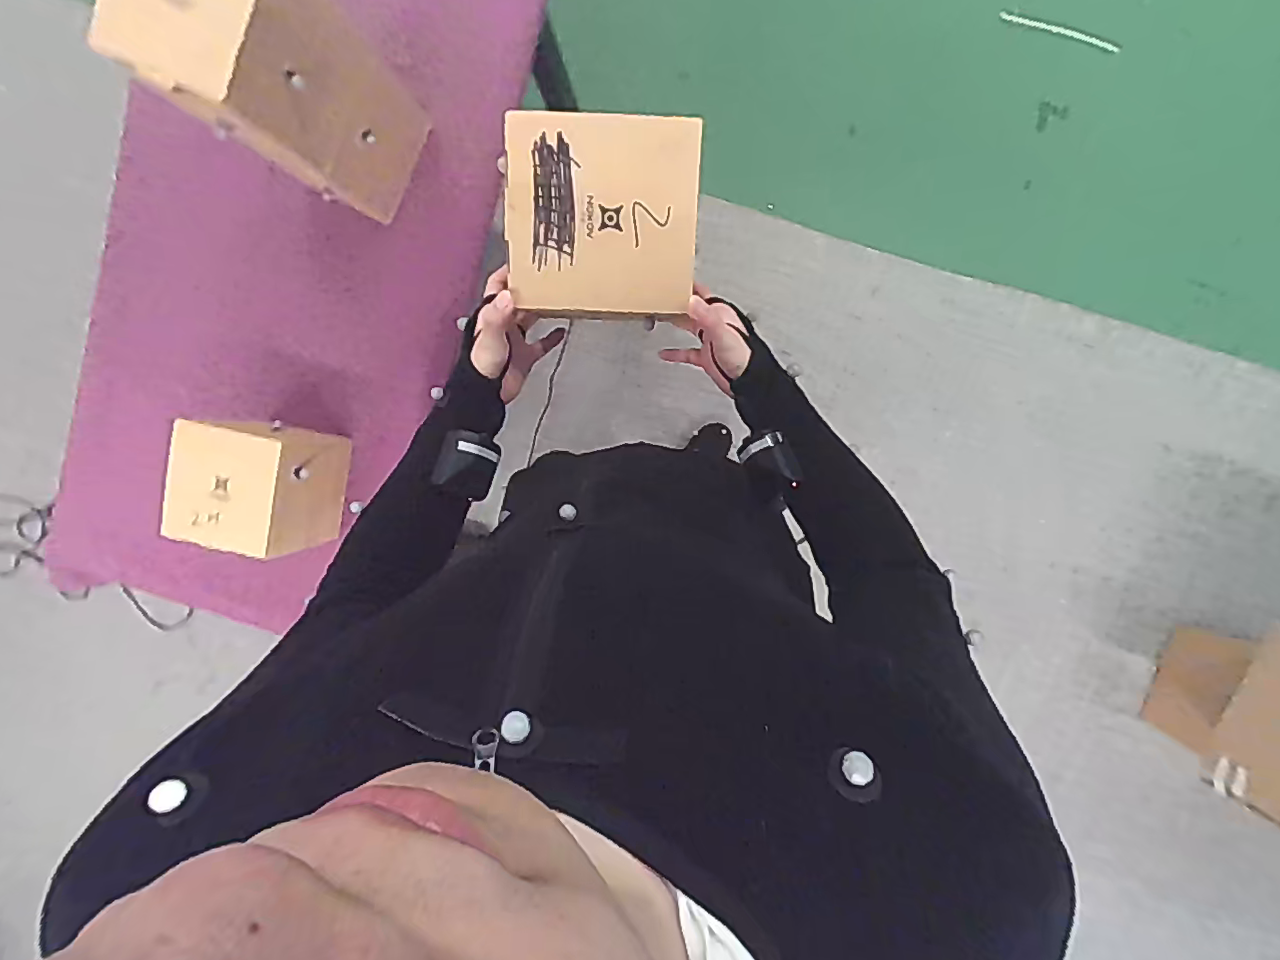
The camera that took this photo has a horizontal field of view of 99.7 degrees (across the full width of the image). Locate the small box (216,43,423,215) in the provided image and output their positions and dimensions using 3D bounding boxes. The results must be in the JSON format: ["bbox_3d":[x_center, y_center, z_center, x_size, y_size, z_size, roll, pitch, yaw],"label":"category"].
[{"bbox_3d":[-0.447,-0.521,0.781,0.168,0.176,0.179,28,97,1],"label":"small box"}]

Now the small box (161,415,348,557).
[{"bbox_3d":[-0.589,0.001,0.847,0.168,0.176,0.179,12,97,3],"label":"small box"}]

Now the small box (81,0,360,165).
[{"bbox_3d":[-0.459,-0.503,0.619,0.168,0.176,0.179,25,99,1],"label":"small box"}]
